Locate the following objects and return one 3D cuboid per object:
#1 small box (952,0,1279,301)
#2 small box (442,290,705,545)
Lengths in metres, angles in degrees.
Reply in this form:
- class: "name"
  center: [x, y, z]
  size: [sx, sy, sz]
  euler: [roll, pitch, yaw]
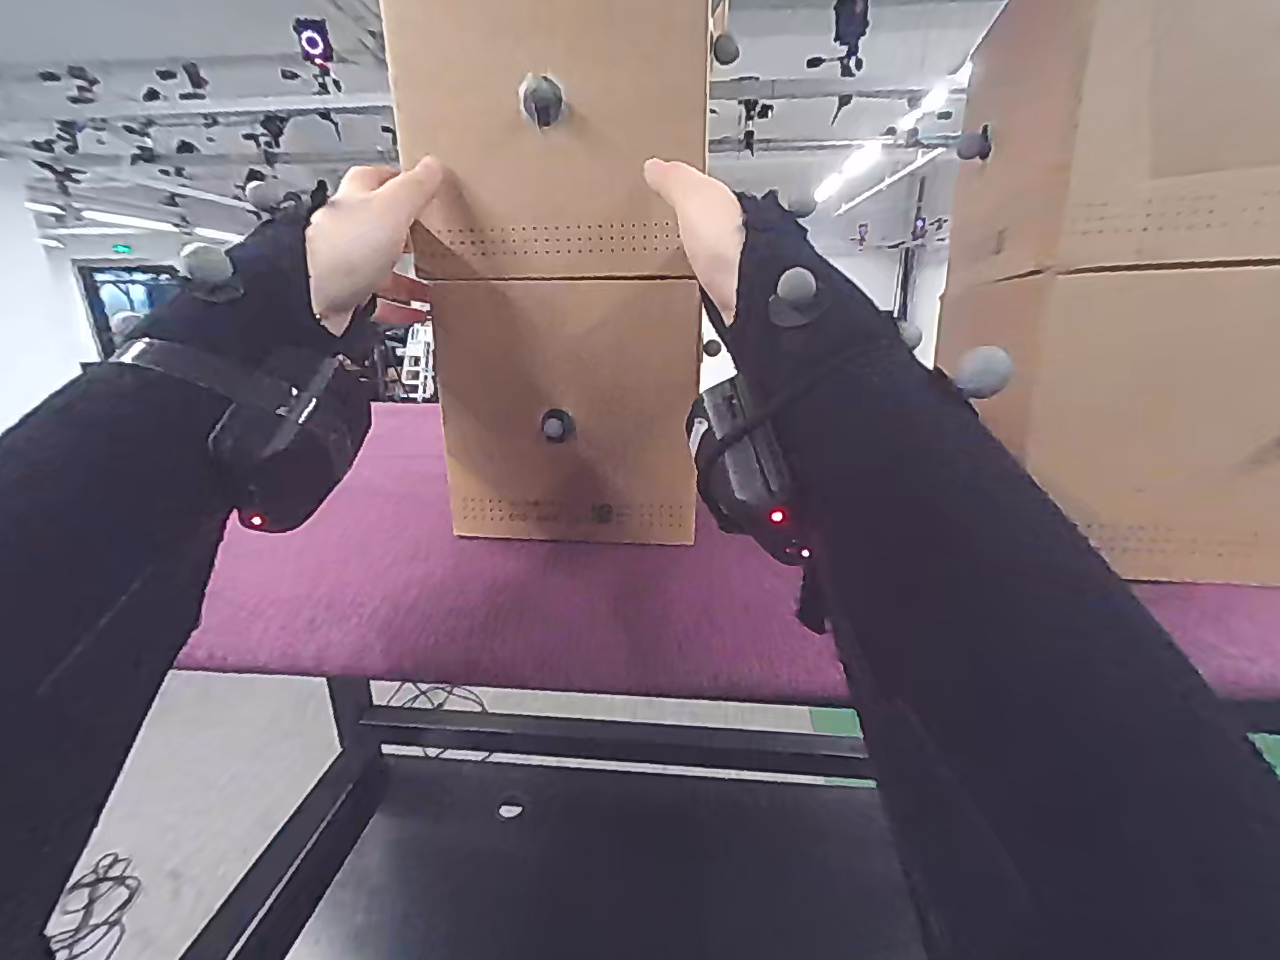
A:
- class: "small box"
  center: [0.307, -0.195, 0.325]
  size: [0.179, 0.176, 0.168]
  euler: [3, 14, 13]
- class: "small box"
  center: [-0.033, -0.057, 0.427]
  size: [0.168, 0.176, 0.179]
  euler: [2, 17, 5]
